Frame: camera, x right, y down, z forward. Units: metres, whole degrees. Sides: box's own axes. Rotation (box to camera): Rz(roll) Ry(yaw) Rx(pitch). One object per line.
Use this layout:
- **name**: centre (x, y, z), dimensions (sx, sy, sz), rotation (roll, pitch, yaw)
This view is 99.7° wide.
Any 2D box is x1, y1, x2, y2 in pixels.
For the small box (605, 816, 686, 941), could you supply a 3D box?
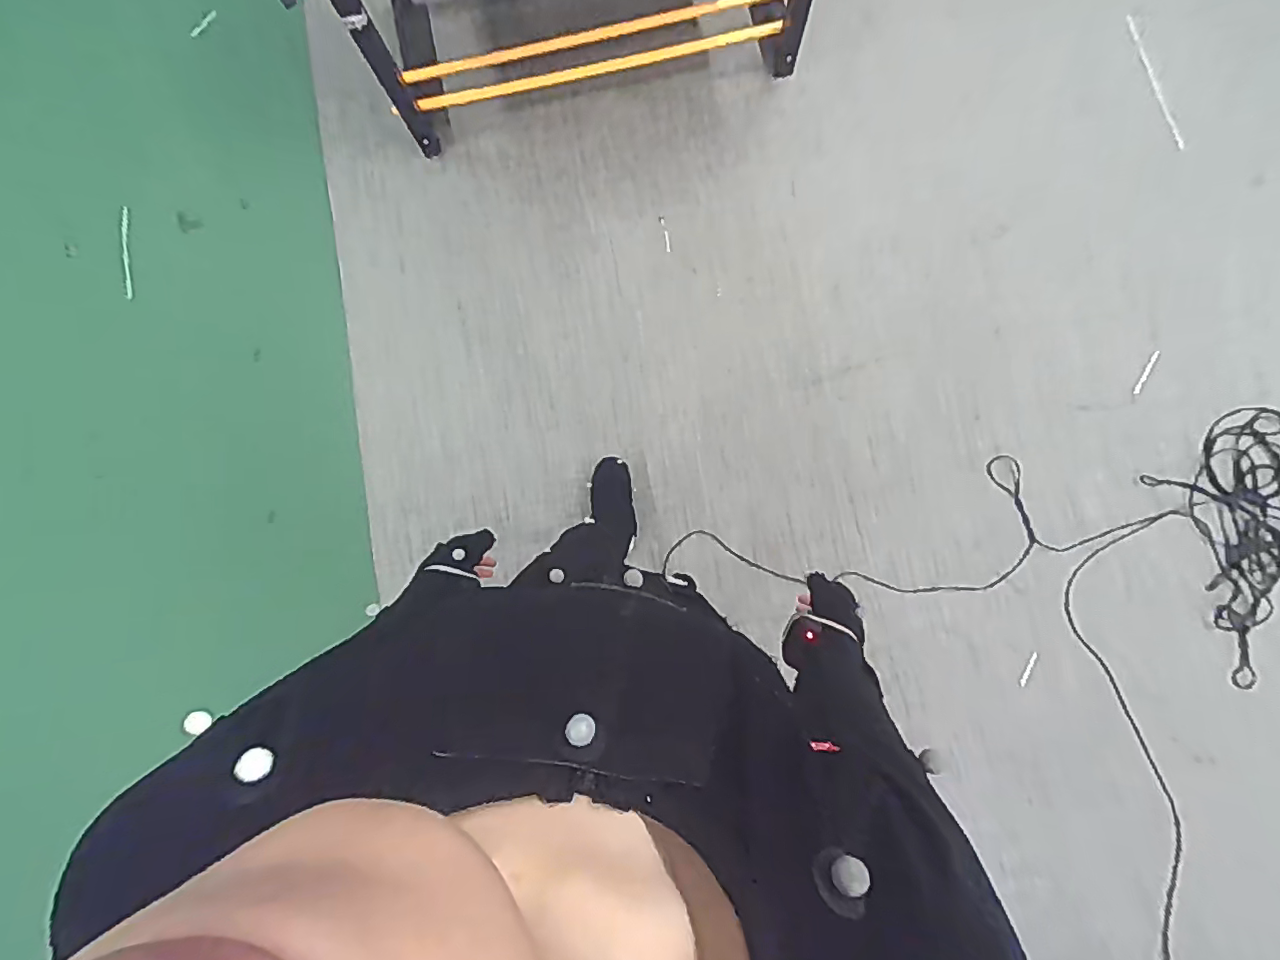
- **small box**: centre (0.018, 0.944, 1.294), dimensions (0.168, 0.176, 0.179), rotation (-9, 81, 1)
